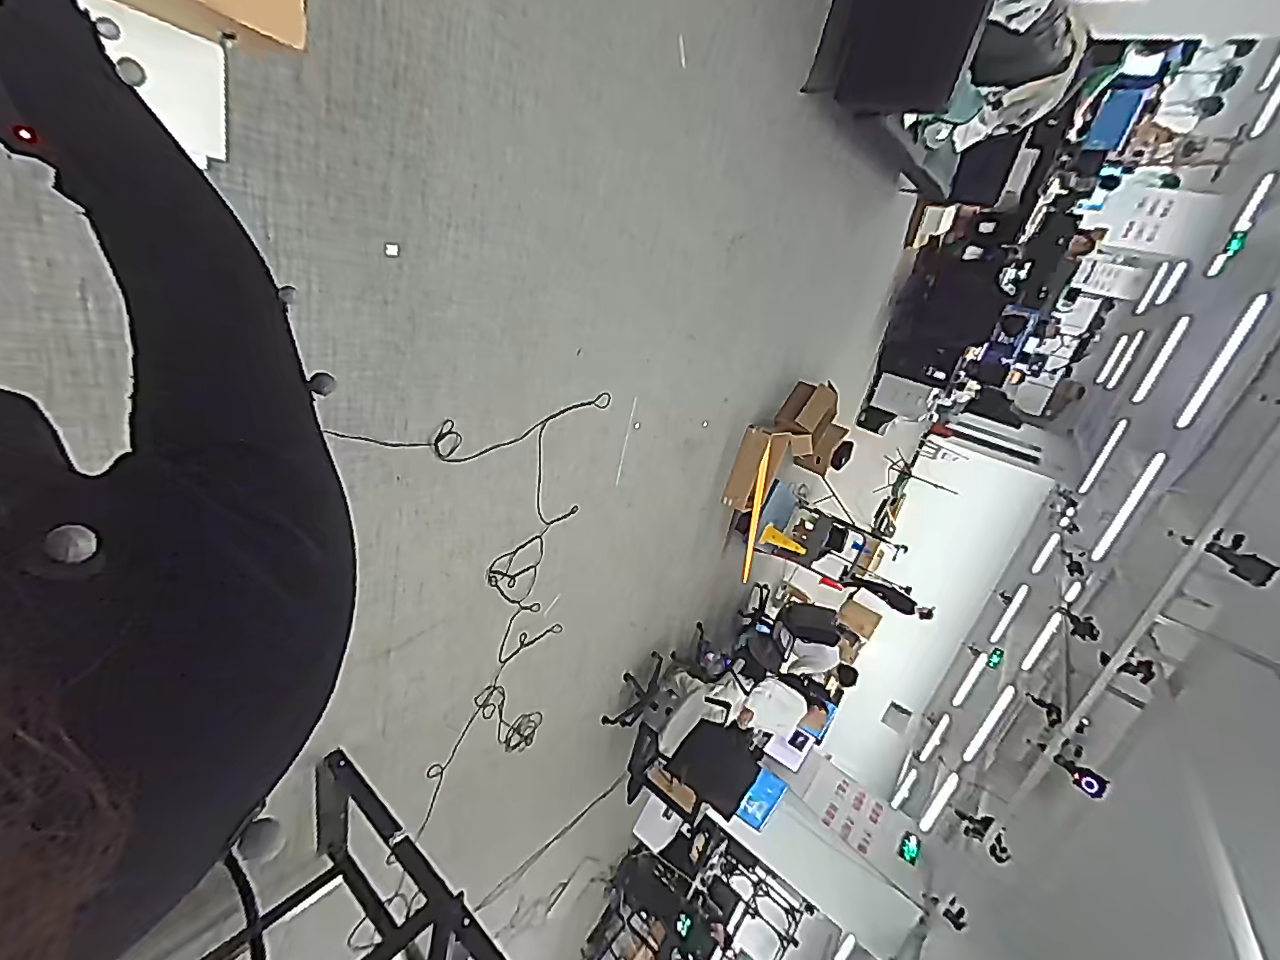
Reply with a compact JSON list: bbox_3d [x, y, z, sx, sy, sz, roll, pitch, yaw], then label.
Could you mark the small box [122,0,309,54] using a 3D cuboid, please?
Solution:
[{"bbox_3d":[-0.430,-0.528,0.493,0.179,0.176,0.168,-11,122,-52],"label":"small box"}]
